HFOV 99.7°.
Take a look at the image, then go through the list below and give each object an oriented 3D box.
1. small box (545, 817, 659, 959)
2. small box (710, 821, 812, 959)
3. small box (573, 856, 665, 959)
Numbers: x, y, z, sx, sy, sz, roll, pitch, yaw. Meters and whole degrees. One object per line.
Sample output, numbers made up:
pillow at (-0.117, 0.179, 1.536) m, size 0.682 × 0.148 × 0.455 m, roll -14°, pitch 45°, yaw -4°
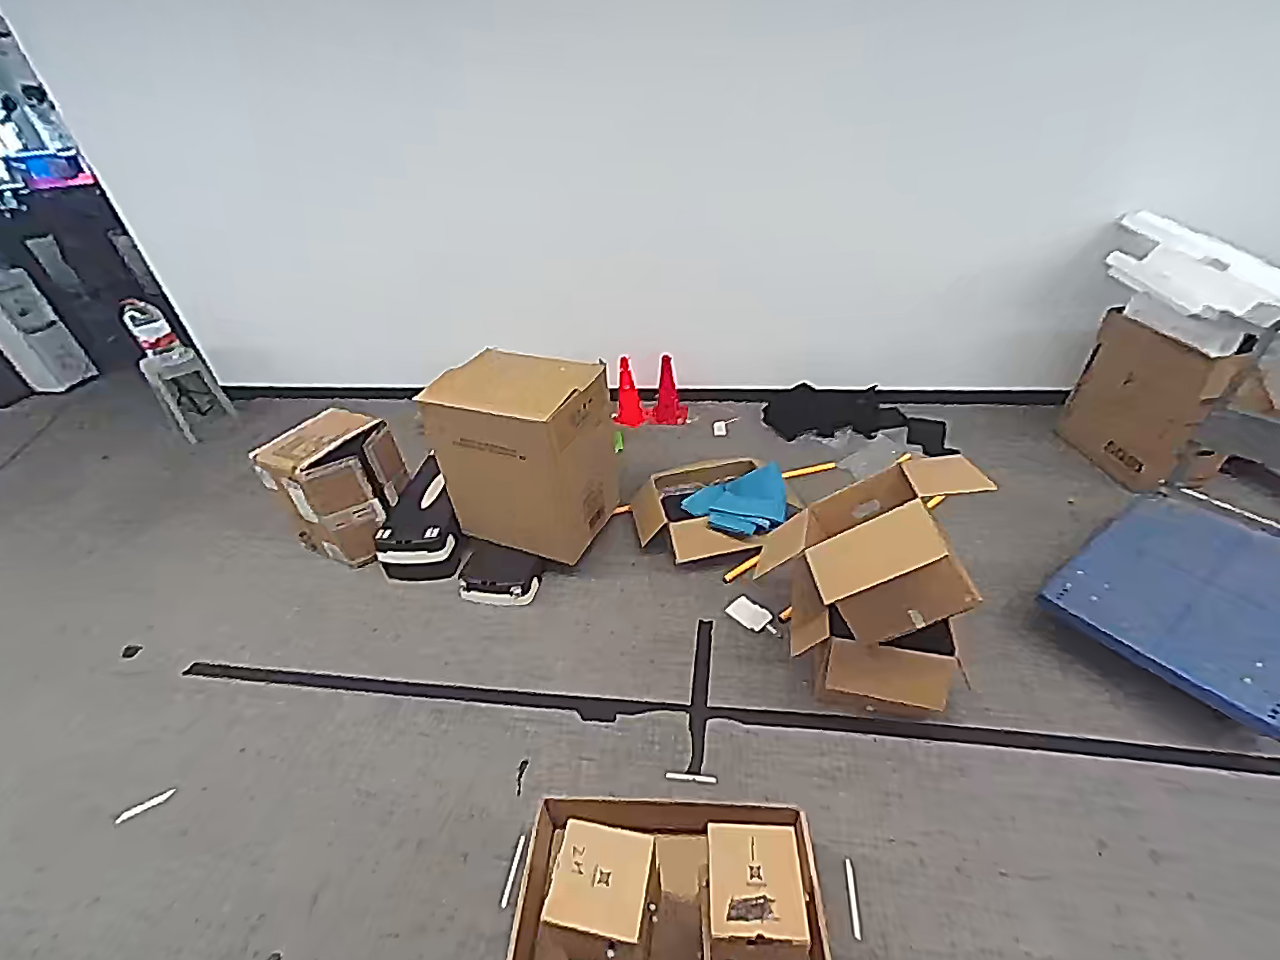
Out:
small box at (-0.061, 0.781, 1.028) m, size 0.179 × 0.176 × 0.168 m, roll 5°, pitch 37°, yaw 11°
small box at (0.218, 0.768, 1.008) m, size 0.168 × 0.176 × 0.179 m, roll -1°, pitch 36°, yaw 6°
small box at (-0.046, 0.902, 1.141) m, size 0.168 × 0.176 × 0.179 m, roll 7°, pitch 38°, yaw 13°
